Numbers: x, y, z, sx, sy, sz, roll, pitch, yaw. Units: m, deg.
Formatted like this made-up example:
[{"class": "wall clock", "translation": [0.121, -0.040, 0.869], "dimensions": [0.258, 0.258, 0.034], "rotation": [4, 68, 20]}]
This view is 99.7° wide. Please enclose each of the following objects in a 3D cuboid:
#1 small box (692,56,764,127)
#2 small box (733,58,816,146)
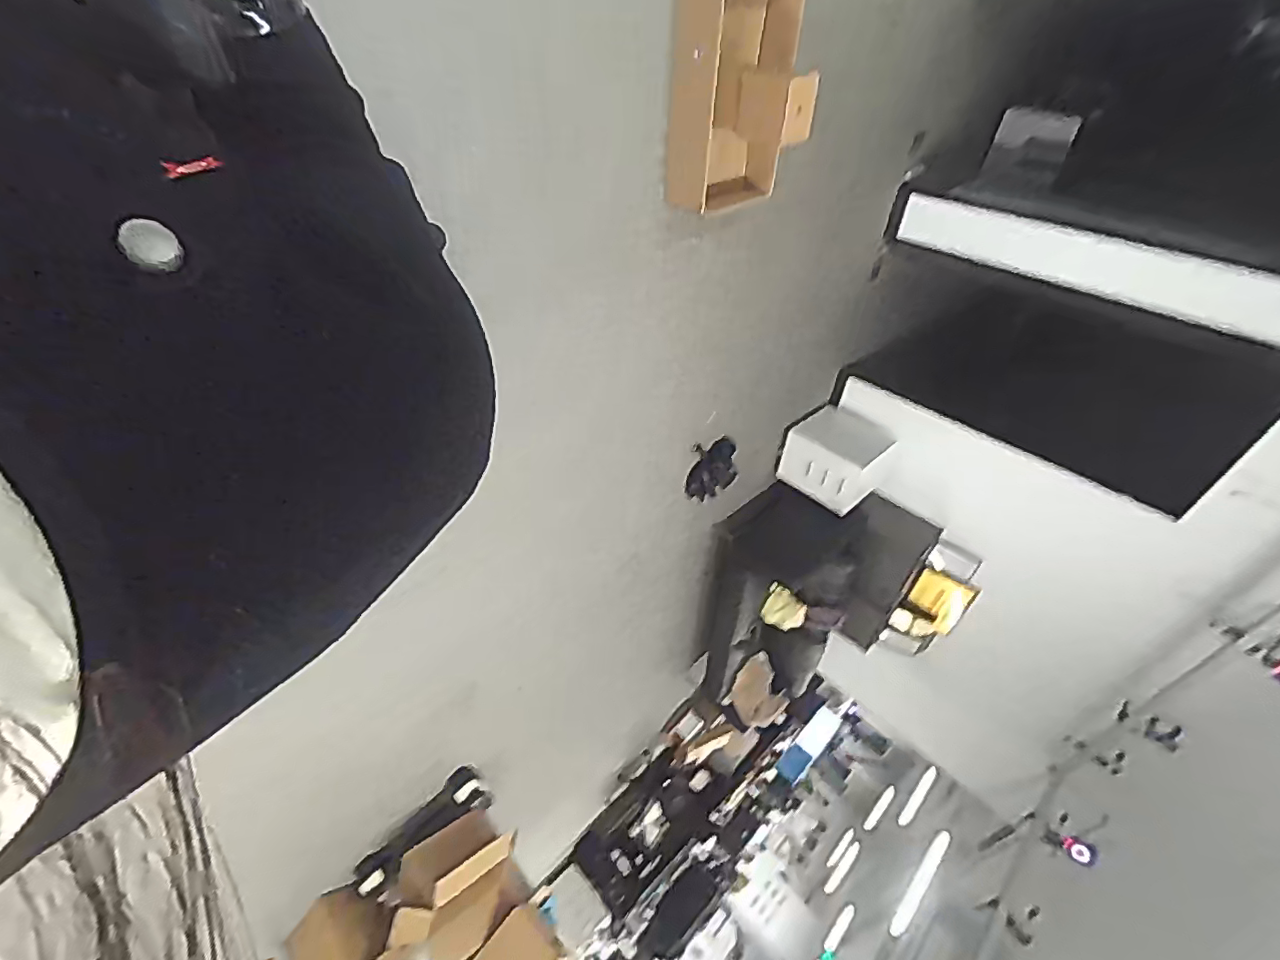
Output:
[{"class": "small box", "translation": [0.285, -1.246, 1.730], "dimensions": [0.179, 0.176, 0.168], "rotation": [-34, 144, -32]}, {"class": "small box", "translation": [0.399, -1.146, 1.636], "dimensions": [0.168, 0.176, 0.179], "rotation": [-39, 147, -27]}]
